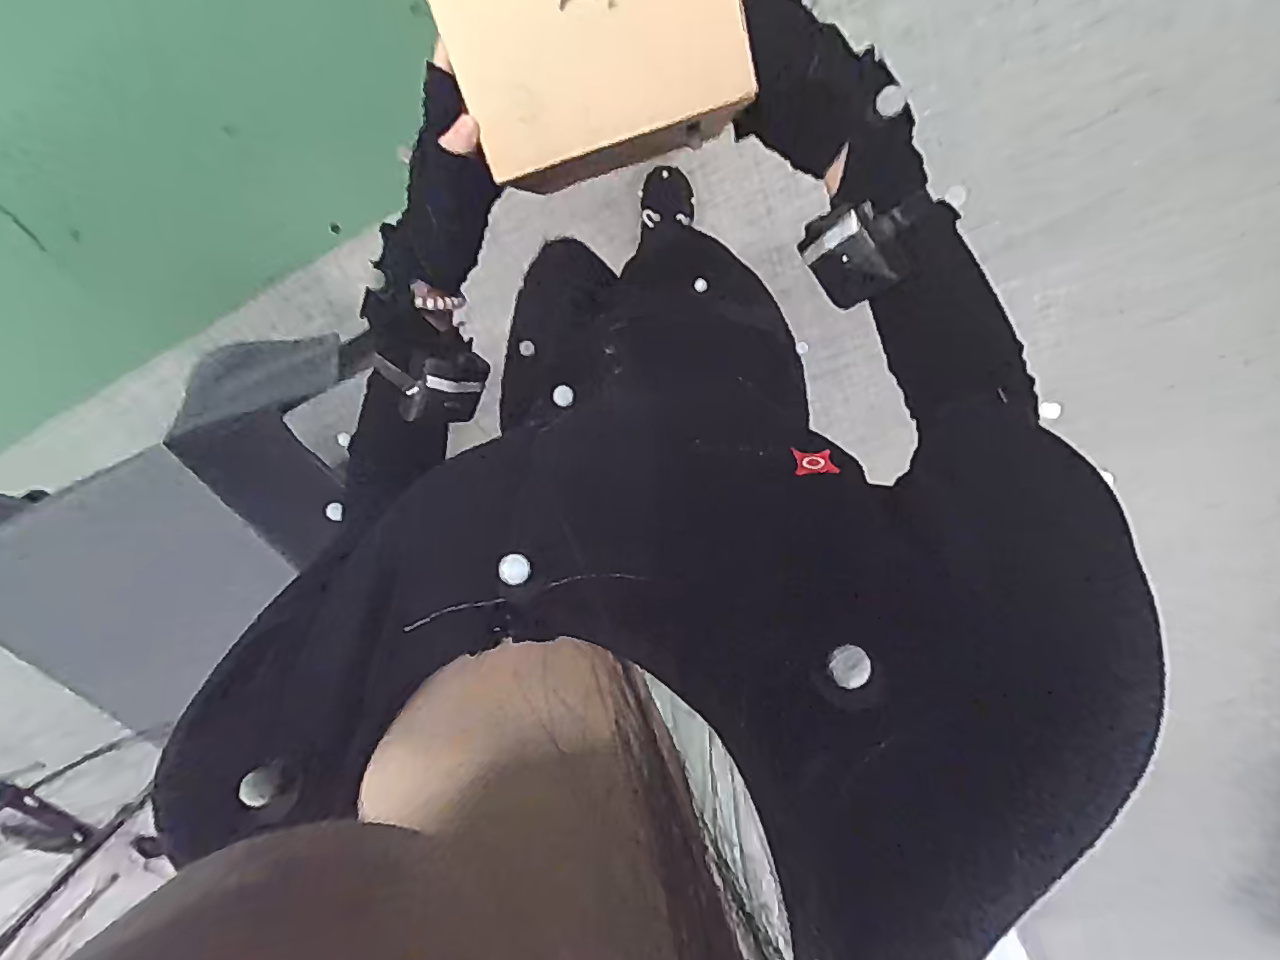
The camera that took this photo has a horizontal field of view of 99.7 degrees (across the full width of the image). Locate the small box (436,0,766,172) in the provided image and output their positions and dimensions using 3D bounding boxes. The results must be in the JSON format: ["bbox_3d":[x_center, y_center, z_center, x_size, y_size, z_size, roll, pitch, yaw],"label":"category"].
[{"bbox_3d":[-0.033,-0.325,0.362,0.179,0.176,0.168,-17,115,5],"label":"small box"}]
